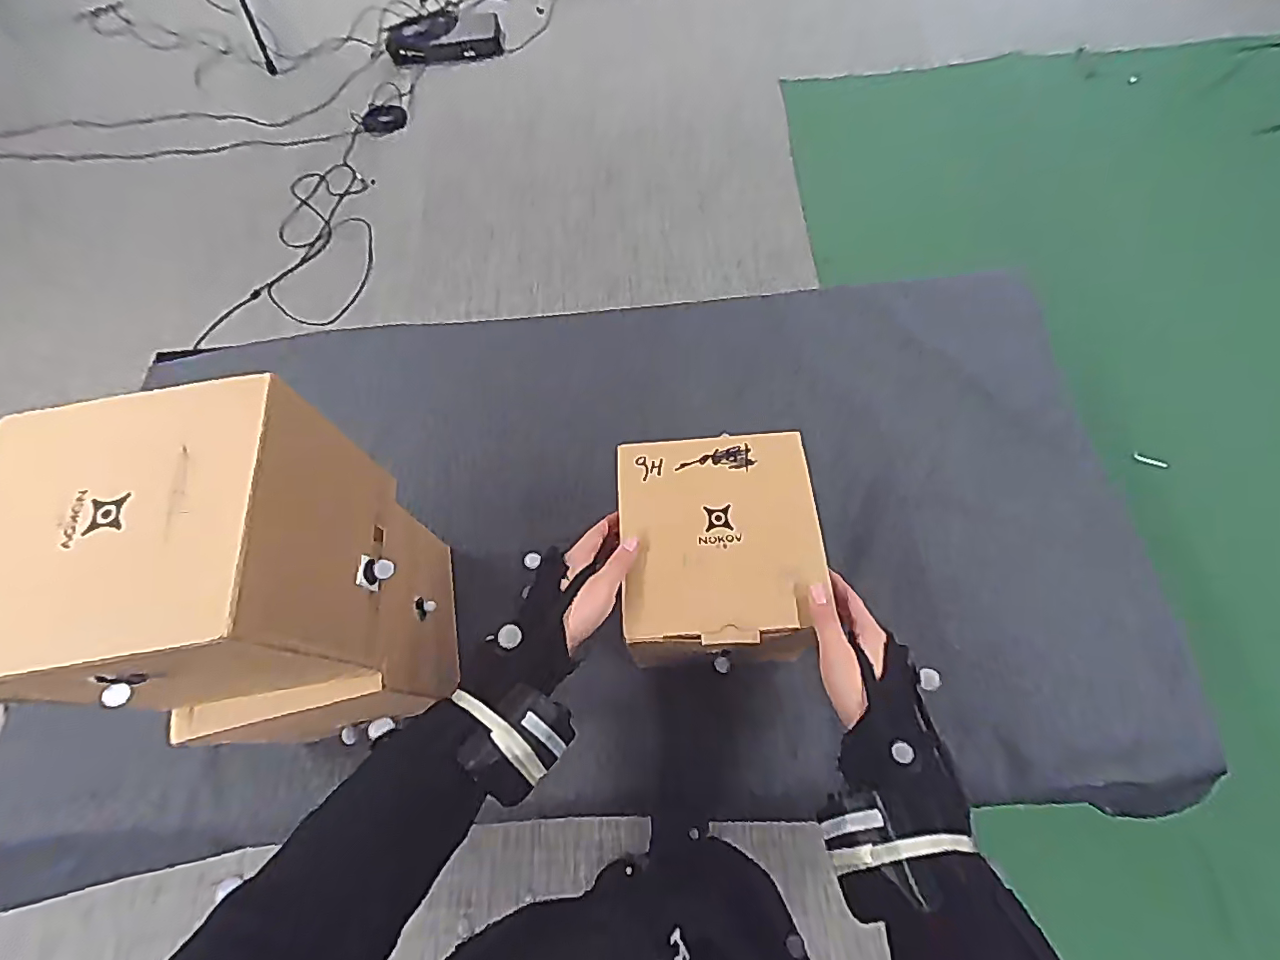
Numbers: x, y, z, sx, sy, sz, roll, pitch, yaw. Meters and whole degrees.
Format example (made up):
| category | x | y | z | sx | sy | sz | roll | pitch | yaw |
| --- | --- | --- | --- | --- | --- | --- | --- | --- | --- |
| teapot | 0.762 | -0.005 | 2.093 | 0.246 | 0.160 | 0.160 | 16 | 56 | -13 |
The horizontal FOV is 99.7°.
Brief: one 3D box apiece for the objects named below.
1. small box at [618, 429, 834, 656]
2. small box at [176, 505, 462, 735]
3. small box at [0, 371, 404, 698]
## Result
| category | x | y | z | sx | sy | sz | roll | pitch | yaw |
| --- | --- | --- | --- | --- | --- | --- | --- | --- | --- |
| small box | 0.071 | 0.072 | 0.523 | 0.168 | 0.176 | 0.179 | -5 | 65 | 2 |
| small box | -0.284 | 0.134 | 0.518 | 0.168 | 0.176 | 0.179 | -14 | 65 | -2 |
| small box | -0.291 | 0.051 | 0.378 | 0.179 | 0.176 | 0.168 | -10 | 66 | -1 |
